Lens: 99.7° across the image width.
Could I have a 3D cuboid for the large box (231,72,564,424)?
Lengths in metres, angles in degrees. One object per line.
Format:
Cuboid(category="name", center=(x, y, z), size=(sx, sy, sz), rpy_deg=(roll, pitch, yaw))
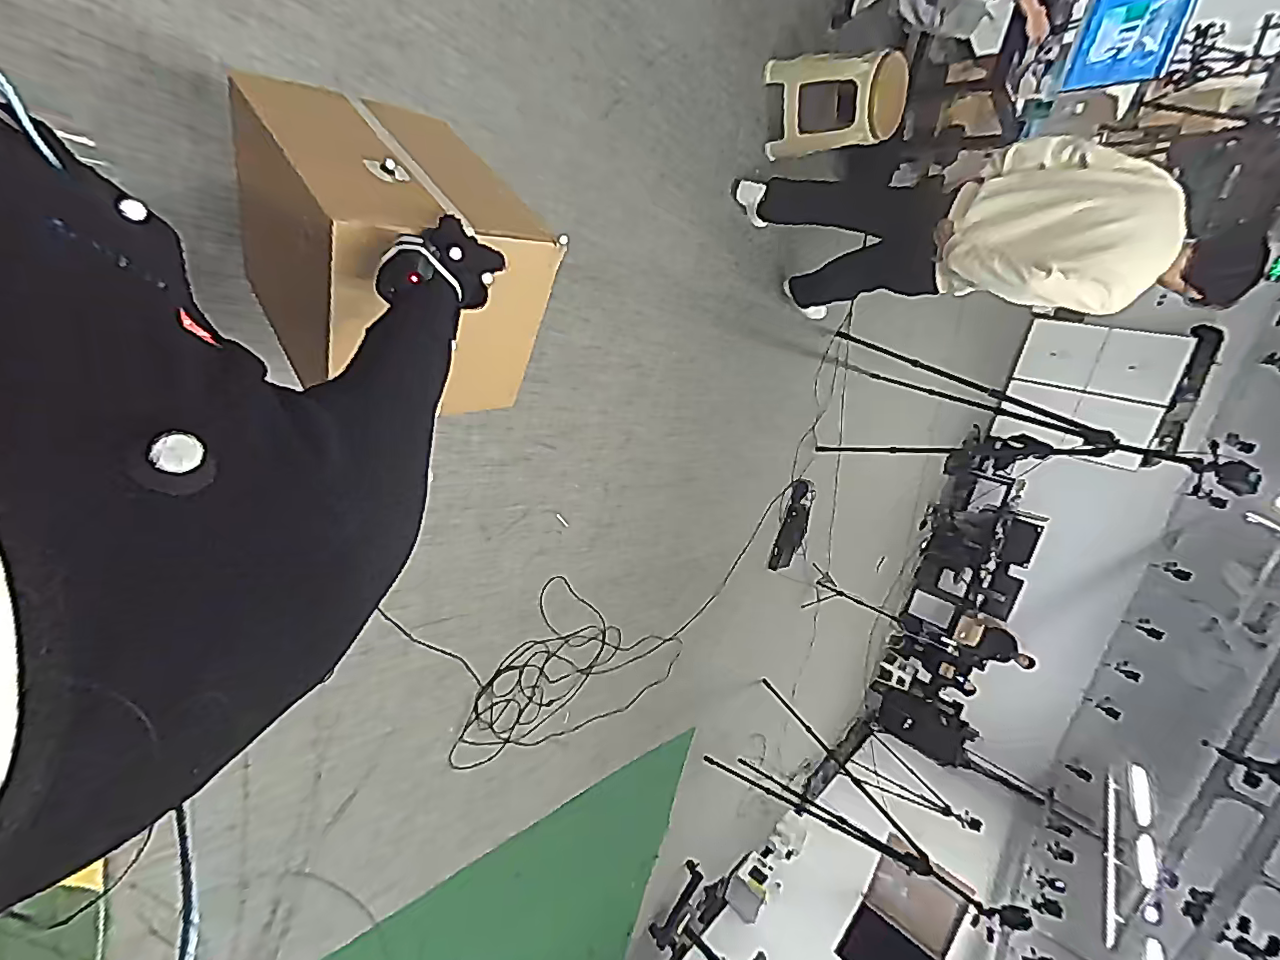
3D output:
Cuboid(category="large box", center=(-0.394, -0.351, 0.859), size=(0.320, 0.408, 0.320), rpy_deg=(-18, 150, -42))
